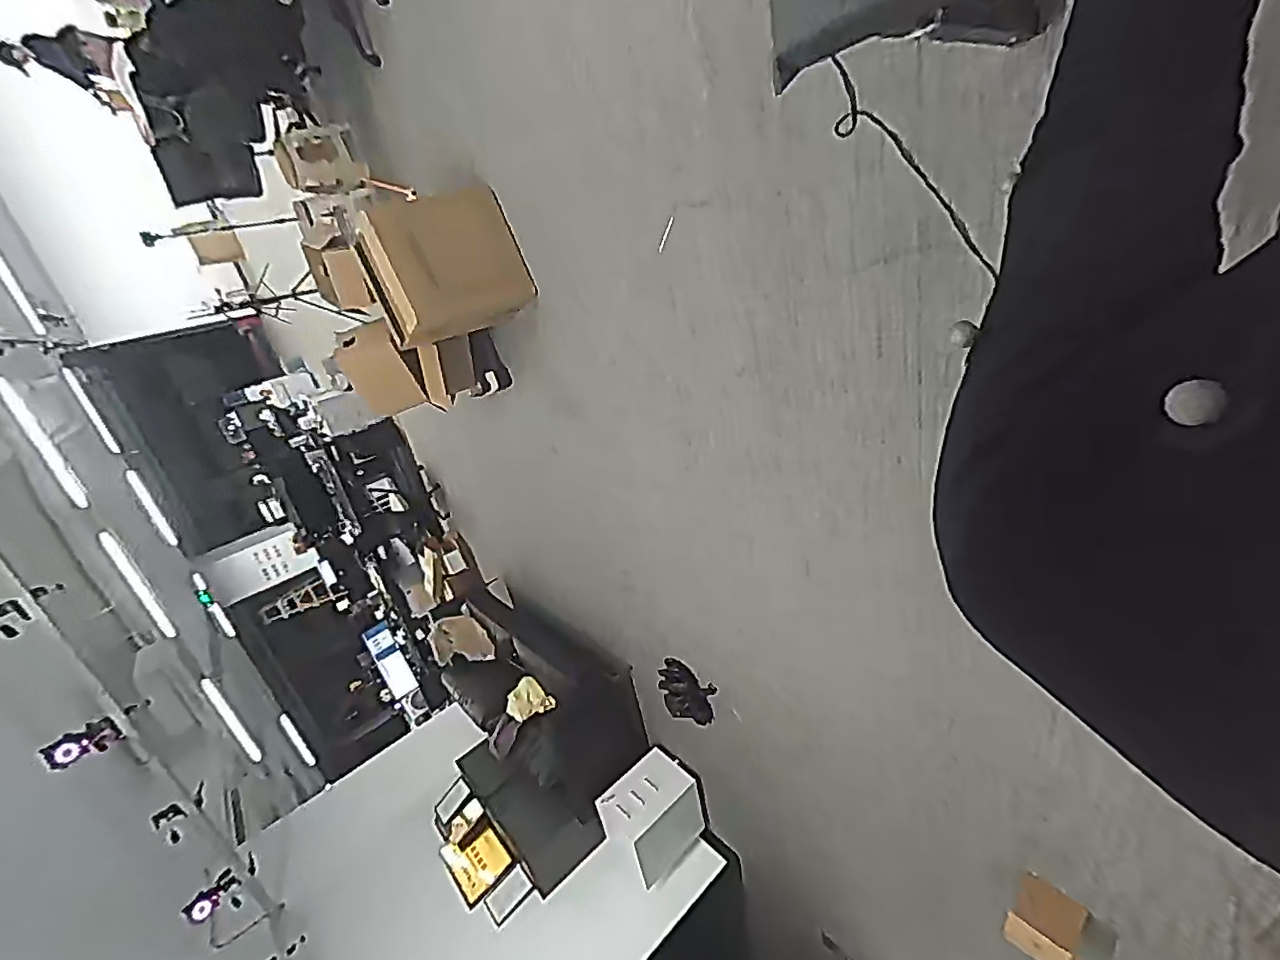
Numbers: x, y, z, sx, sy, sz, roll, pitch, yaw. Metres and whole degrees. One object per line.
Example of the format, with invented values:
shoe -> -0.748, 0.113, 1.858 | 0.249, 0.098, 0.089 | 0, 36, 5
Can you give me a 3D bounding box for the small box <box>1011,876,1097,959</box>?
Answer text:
small box -> 1.368, 1.463, 1.788 | 0.179, 0.176, 0.168 | 18, 129, 46
